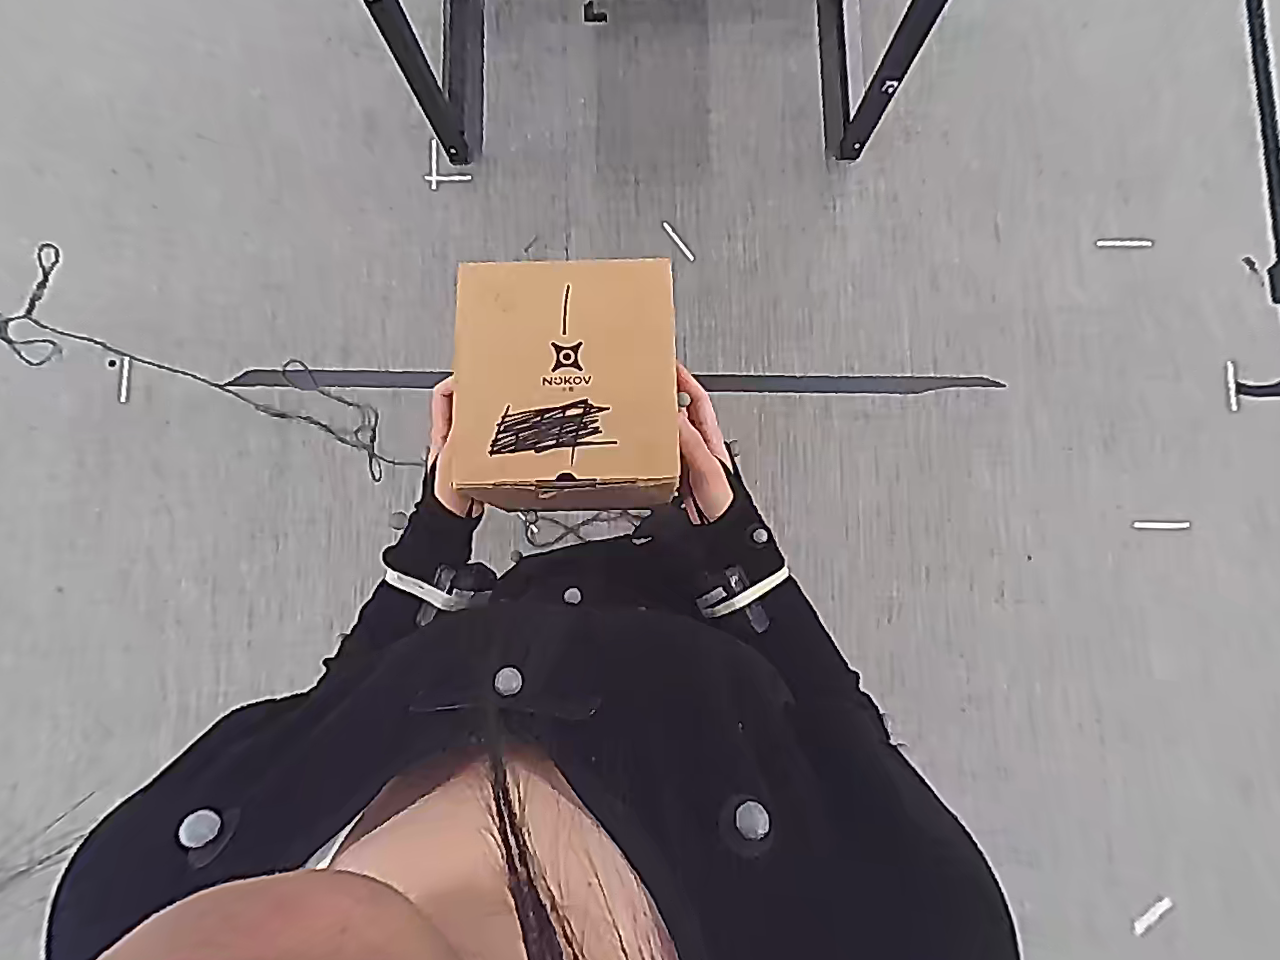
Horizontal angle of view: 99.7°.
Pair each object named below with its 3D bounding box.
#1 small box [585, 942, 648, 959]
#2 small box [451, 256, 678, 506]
[{"bbox_3d":[-0.062,1.296,1.328,0.168,0.176,0.179,3,85,0],"label":"small box"},{"bbox_3d":[-0.054,-0.070,0.475,0.168,0.176,0.179,-1,79,-1],"label":"small box"}]
